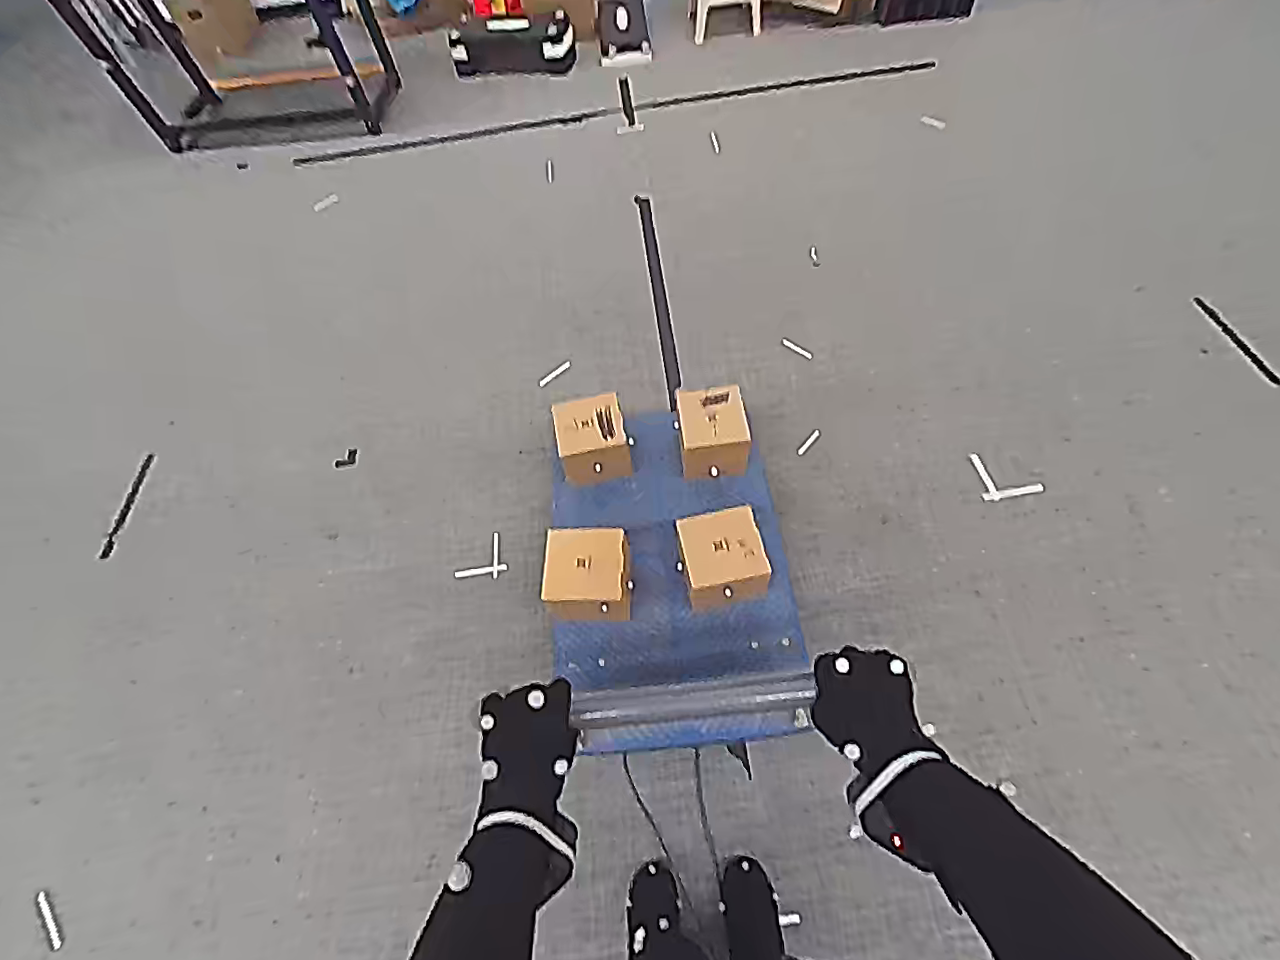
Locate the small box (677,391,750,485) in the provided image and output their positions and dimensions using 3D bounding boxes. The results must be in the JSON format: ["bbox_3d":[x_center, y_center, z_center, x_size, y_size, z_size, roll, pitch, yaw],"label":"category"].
[{"bbox_3d":[0.188,-0.108,1.432,0.168,0.176,0.179,-7,60,2],"label":"small box"}]

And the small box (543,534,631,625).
[{"bbox_3d":[-0.117,0.236,1.262,0.179,0.176,0.168,-1,59,3],"label":"small box"}]

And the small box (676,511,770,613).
[{"bbox_3d":[0.187,0.196,1.254,0.179,0.176,0.168,-12,59,-1],"label":"small box"}]
